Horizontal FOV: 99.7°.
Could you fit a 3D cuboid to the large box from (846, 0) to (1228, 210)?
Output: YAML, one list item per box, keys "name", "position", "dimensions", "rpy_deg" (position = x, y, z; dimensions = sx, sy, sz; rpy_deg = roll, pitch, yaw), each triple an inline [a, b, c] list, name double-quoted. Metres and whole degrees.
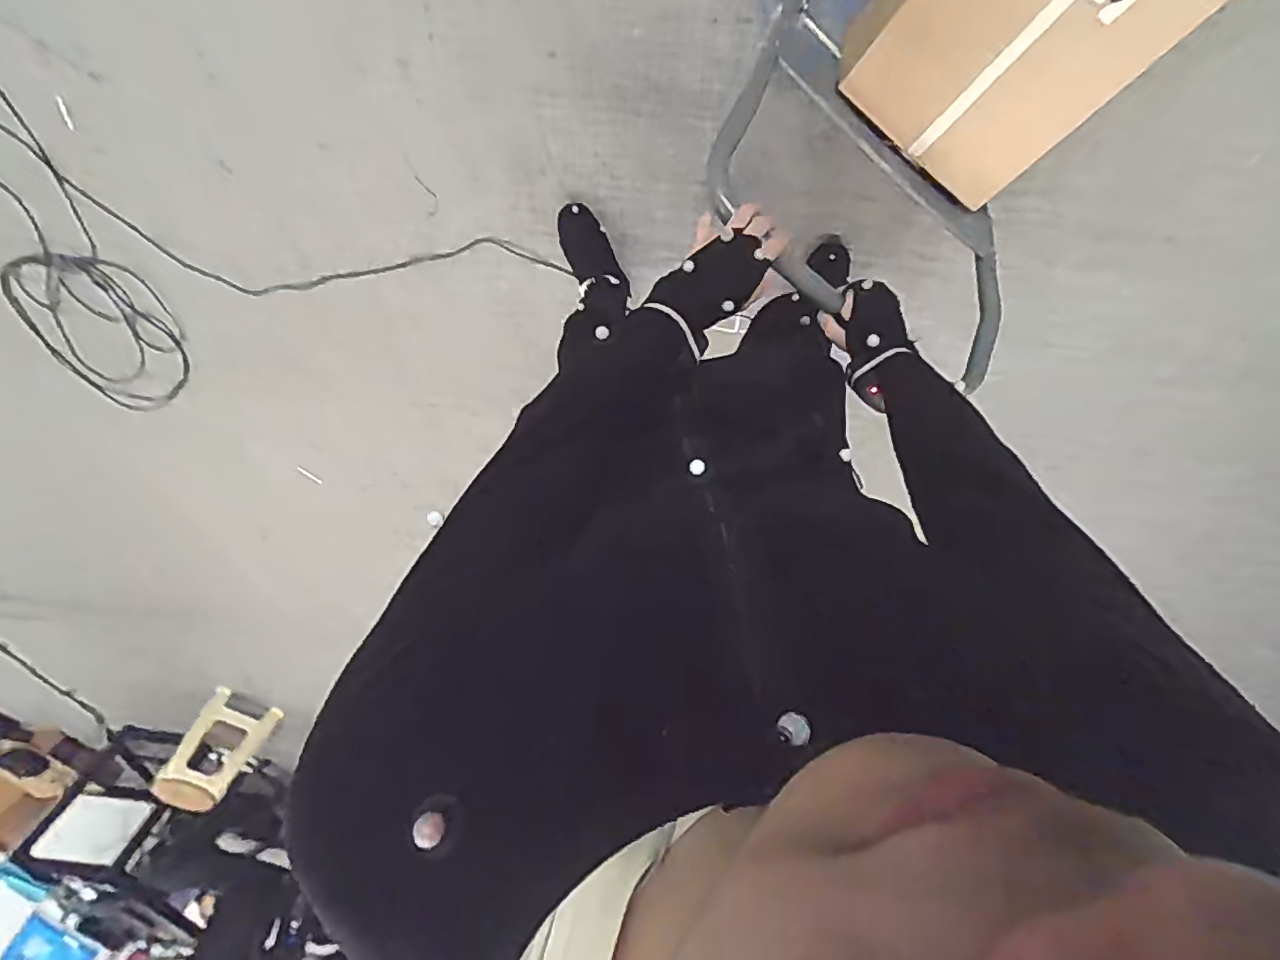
- name: "large box"
  position: [0.572, -0.718, 0.805]
  dimensions: [0.320, 0.320, 0.408]
  rpy_deg: [31, 140, -15]
